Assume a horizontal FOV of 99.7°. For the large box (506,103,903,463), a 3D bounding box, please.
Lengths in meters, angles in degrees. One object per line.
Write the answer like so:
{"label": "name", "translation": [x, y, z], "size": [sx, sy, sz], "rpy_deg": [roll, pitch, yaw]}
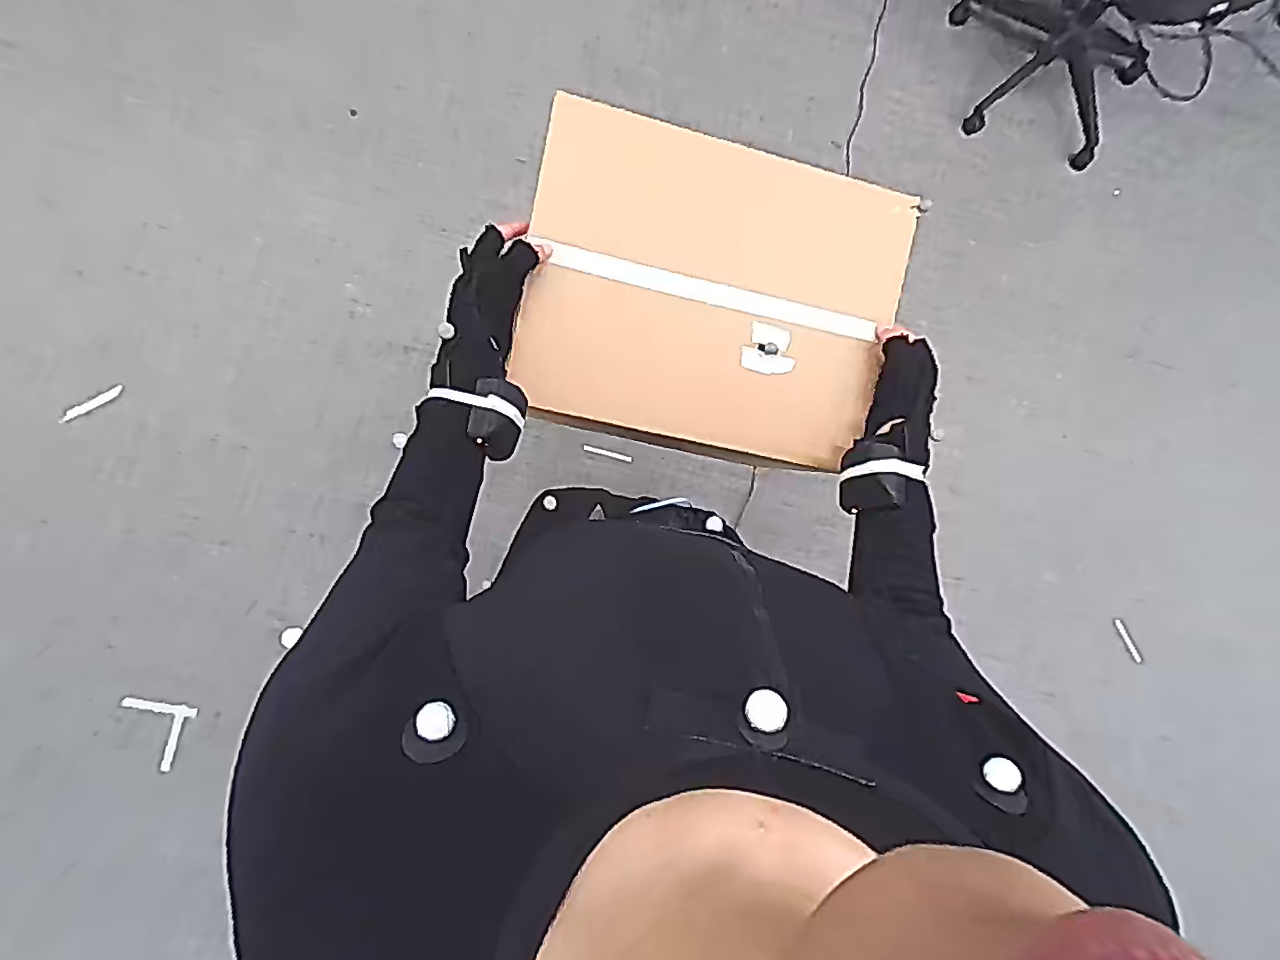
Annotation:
{"label": "large box", "translation": [0.057, -0.214, 0.735], "size": [0.408, 0.320, 0.320], "rpy_deg": [12, 93, -9]}
